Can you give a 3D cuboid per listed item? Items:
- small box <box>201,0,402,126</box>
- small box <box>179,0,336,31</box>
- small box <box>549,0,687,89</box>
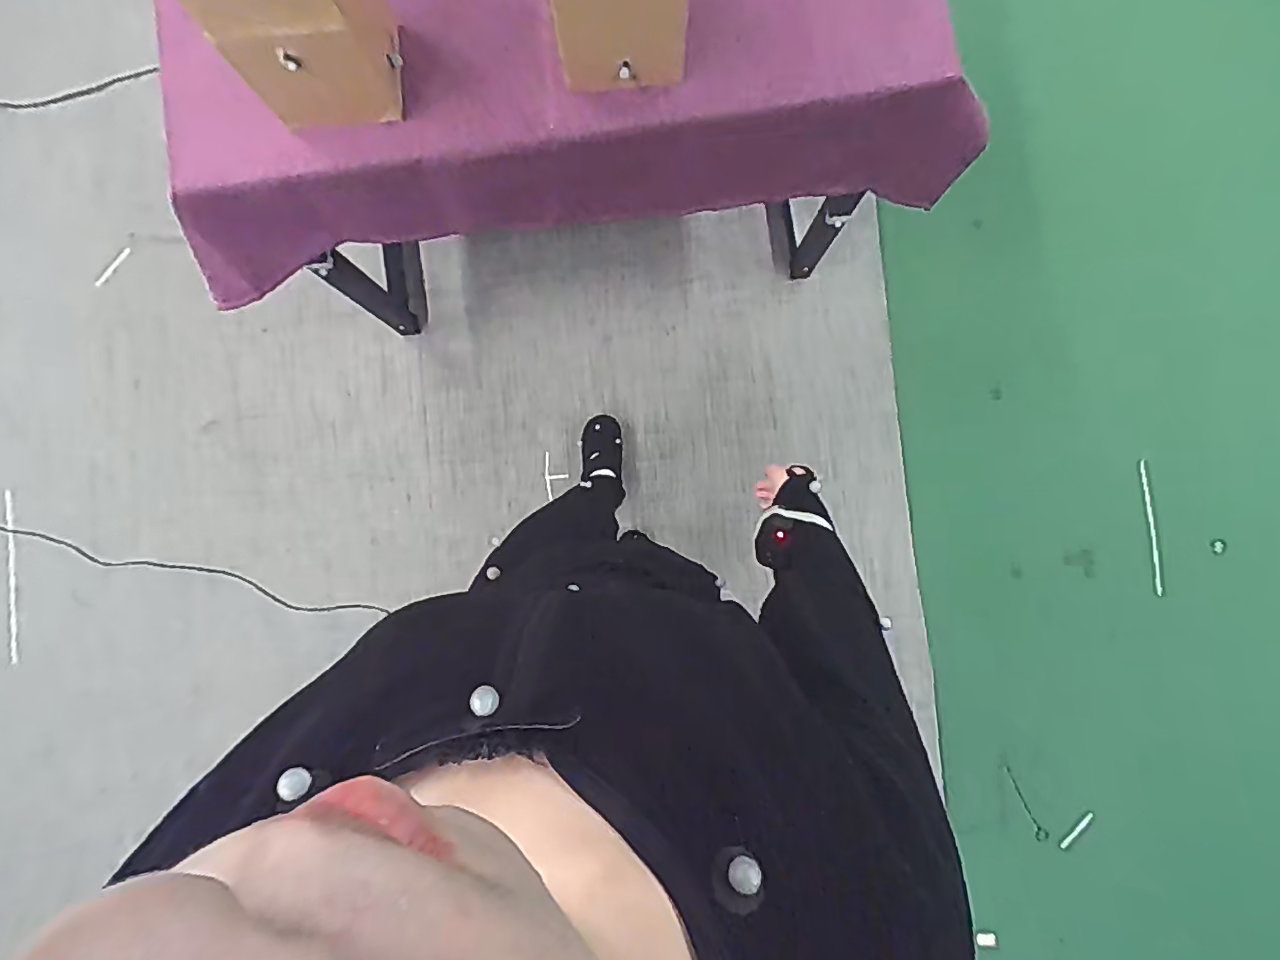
[{"bbox_3d":[-0.451,-0.620,0.740,0.179,0.176,0.168,-4,87,-1],"label":"small box"},{"bbox_3d":[-0.447,-0.631,0.577,0.179,0.176,0.168,-5,87,1],"label":"small box"},{"bbox_3d":[-0.034,-0.678,0.740,0.179,0.176,0.168,-6,86,0],"label":"small box"}]
